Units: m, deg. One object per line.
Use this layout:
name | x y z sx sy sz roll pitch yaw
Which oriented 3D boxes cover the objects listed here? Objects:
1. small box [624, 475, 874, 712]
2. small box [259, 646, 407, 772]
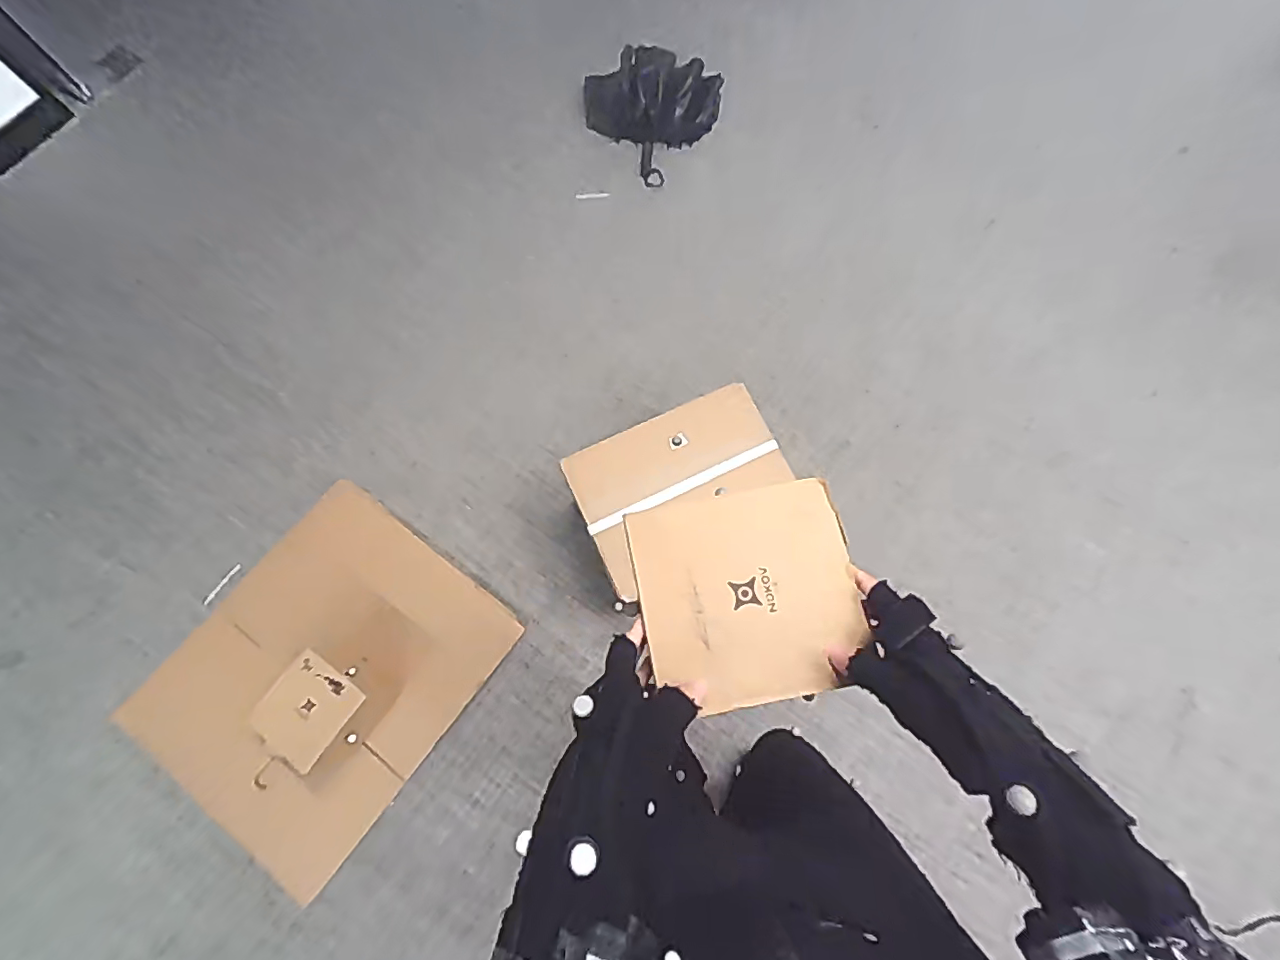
small box | 0.088 0.108 0.520 0.179 0.176 0.168 -12 74 -1
small box | -0.630 0.468 1.135 0.168 0.176 0.179 30 77 10
